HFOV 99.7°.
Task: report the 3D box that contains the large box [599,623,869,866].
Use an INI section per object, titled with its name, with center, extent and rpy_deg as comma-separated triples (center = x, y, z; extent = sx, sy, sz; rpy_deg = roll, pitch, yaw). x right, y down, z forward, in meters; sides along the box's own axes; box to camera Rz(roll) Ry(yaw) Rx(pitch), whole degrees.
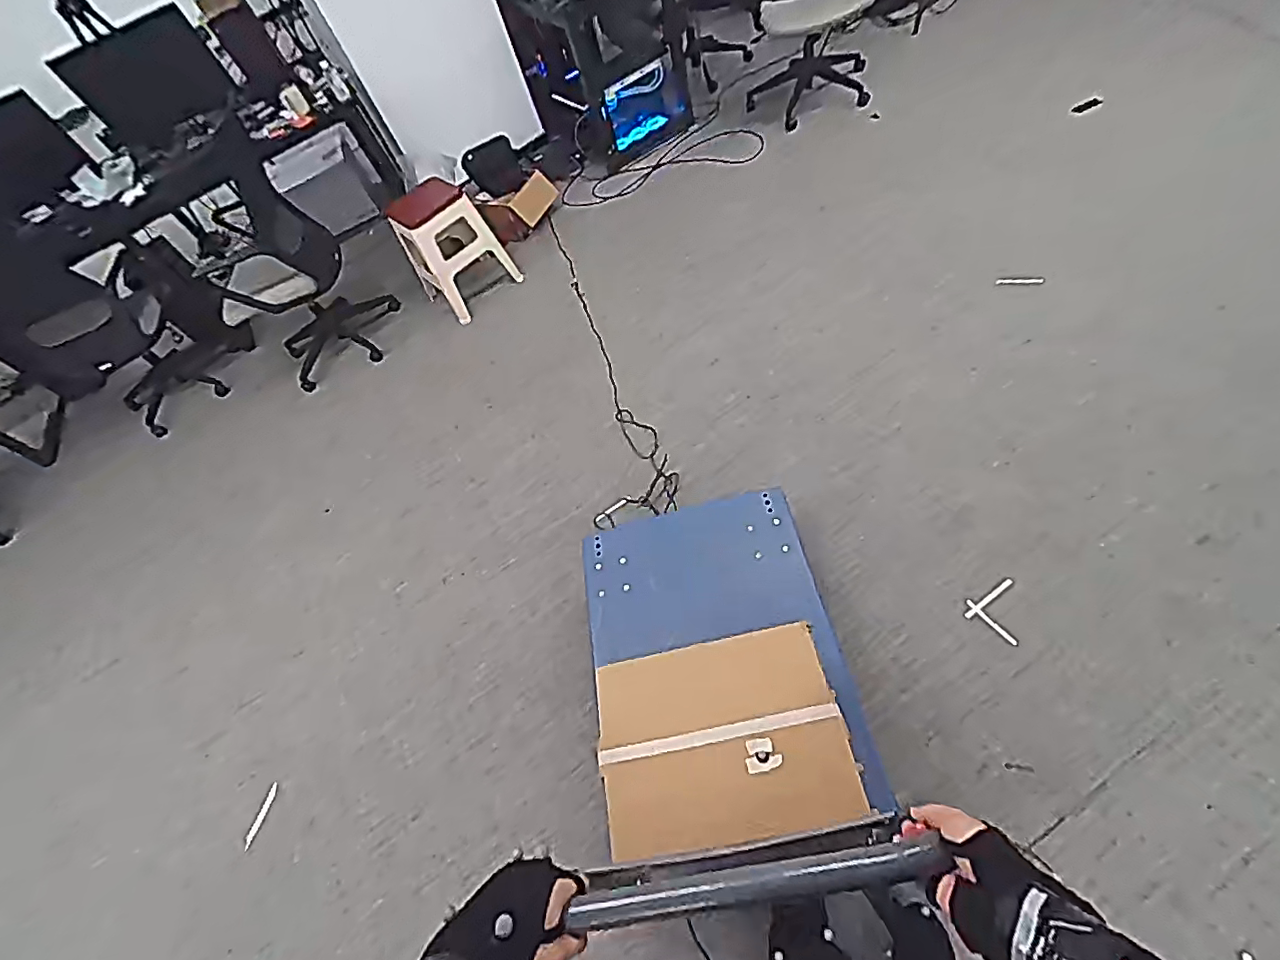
[large box]
center = 0.166, 0.516, 1.033
extent = 0.408, 0.320, 0.320
rpy_deg = -15, 54, 6
